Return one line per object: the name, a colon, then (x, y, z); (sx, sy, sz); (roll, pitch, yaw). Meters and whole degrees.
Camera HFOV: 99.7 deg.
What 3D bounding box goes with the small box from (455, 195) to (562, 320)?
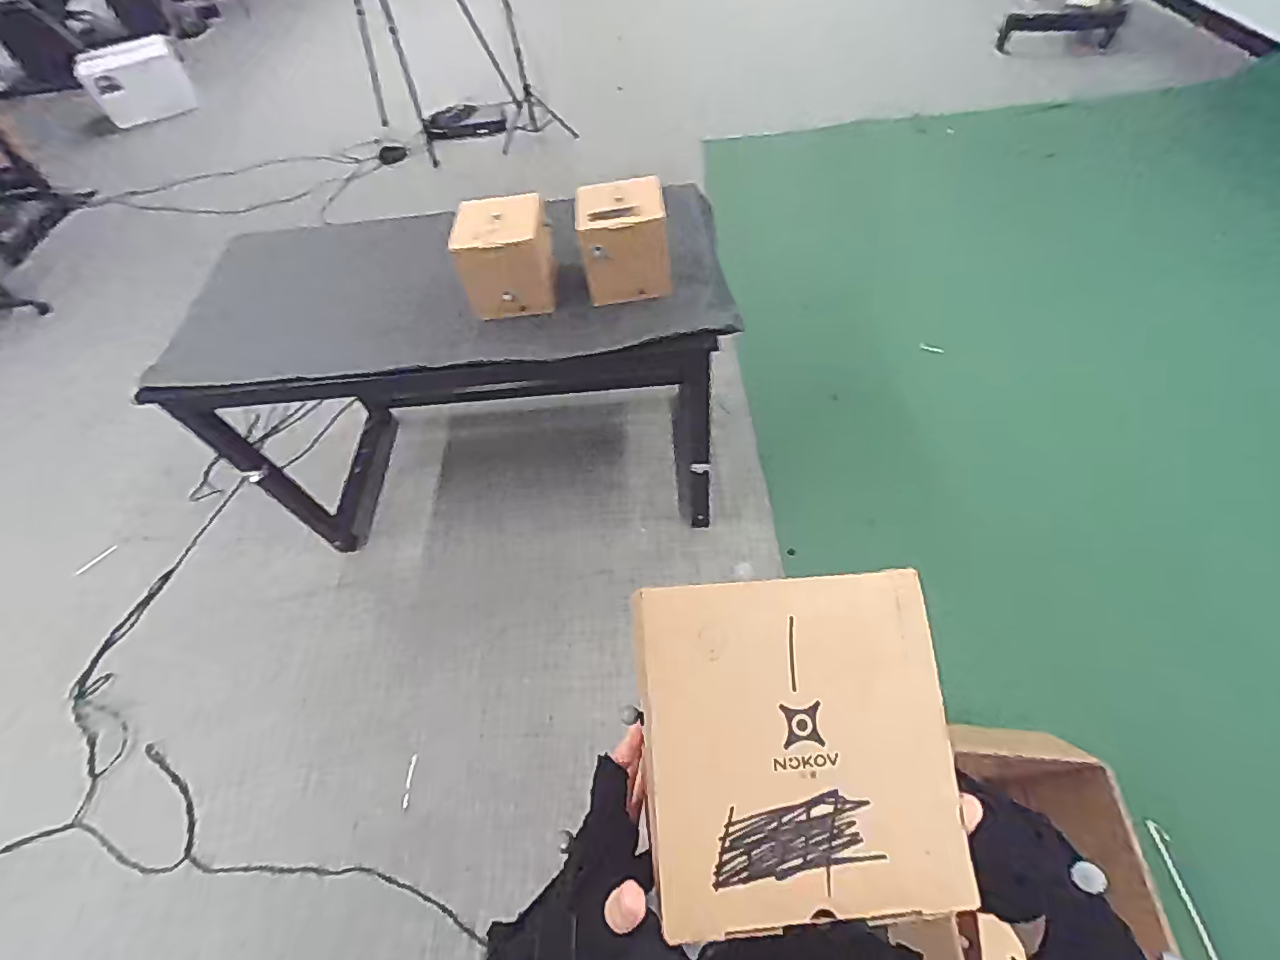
small box: (-0.263, -0.462, 1.129); (0.168, 0.176, 0.179); (-5, 55, 4)
